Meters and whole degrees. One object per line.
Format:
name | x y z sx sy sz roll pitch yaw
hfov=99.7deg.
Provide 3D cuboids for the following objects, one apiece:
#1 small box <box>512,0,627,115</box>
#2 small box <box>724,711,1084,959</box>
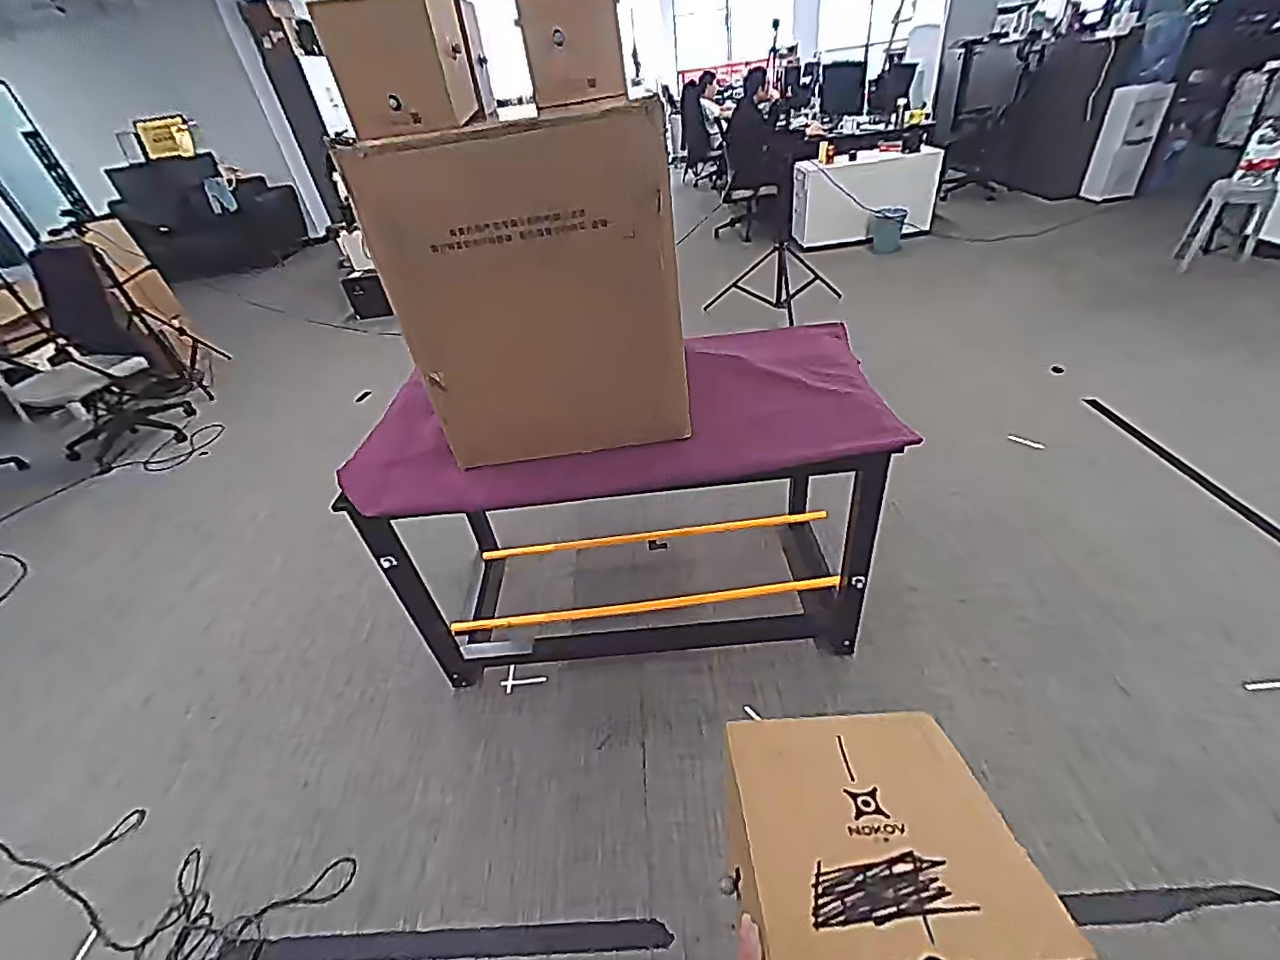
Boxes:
small box | -0.119 -0.771 0.974 0.168 0.176 0.179 -9 37 1
small box | 0.153 0.294 0.379 0.168 0.176 0.179 -3 19 2
